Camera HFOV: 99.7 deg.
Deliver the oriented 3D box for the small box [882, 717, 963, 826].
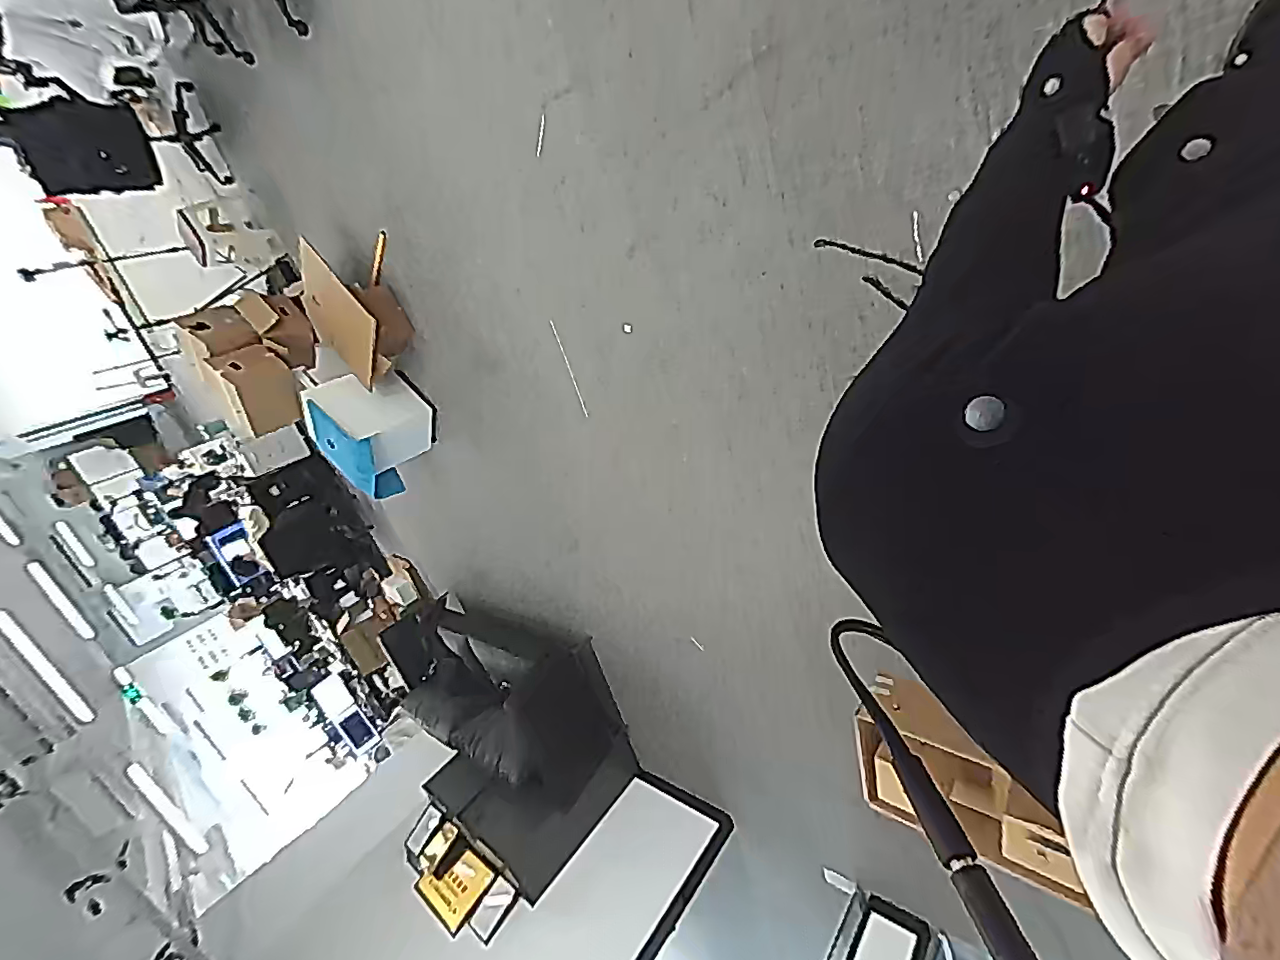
[{"bbox_3d":[0.811,0.826,1.547,0.168,0.176,0.179,8,121,43],"label":"small box"}]
